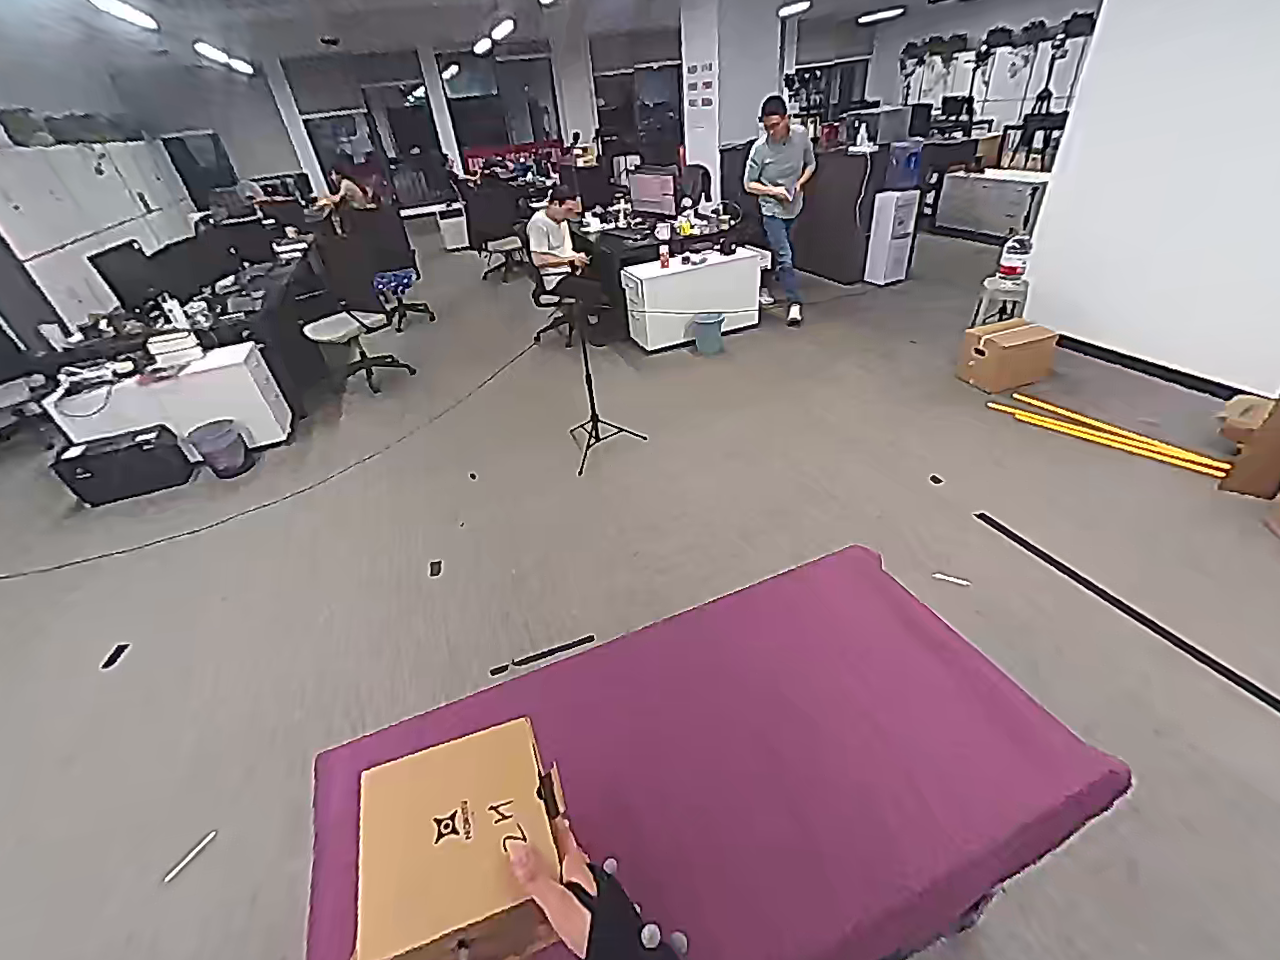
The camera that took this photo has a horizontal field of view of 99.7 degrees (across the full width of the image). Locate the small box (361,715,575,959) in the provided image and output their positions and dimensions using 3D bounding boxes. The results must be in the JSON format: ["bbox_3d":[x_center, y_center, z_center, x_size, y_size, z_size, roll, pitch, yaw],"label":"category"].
[{"bbox_3d":[-0.176,0.390,0.576,0.179,0.176,0.168,-12,43,-16],"label":"small box"}]
